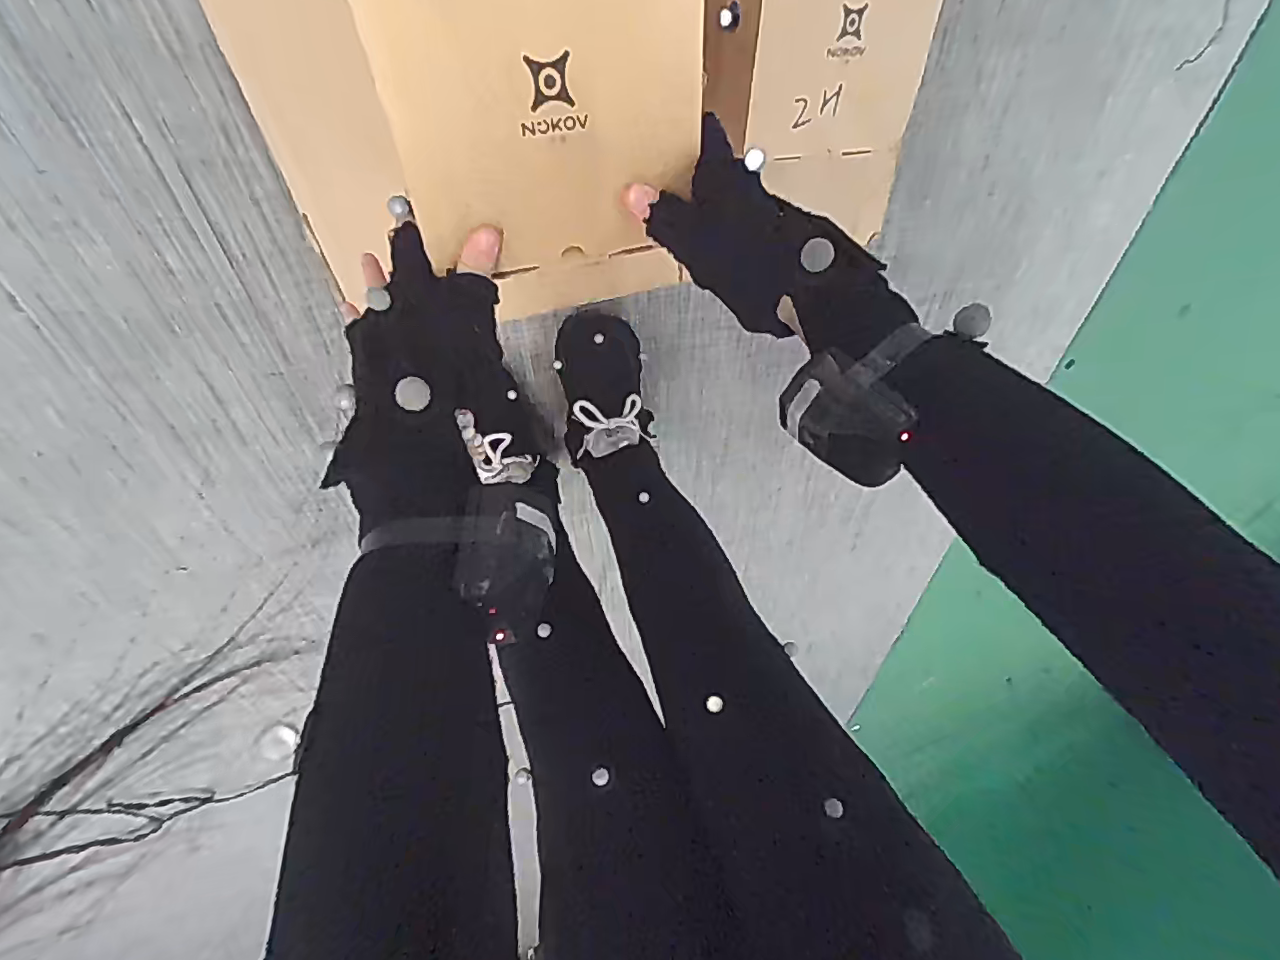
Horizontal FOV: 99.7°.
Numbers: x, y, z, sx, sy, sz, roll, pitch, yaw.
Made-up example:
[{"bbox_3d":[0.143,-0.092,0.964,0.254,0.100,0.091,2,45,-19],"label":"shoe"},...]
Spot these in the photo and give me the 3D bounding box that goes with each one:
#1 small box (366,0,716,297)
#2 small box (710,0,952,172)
[{"bbox_3d":[-0.064,-0.242,0.331,0.168,0.176,0.179,-15,136,-11],"label":"small box"},{"bbox_3d":[0.150,-0.405,0.499,0.168,0.176,0.179,-11,134,-12],"label":"small box"}]
